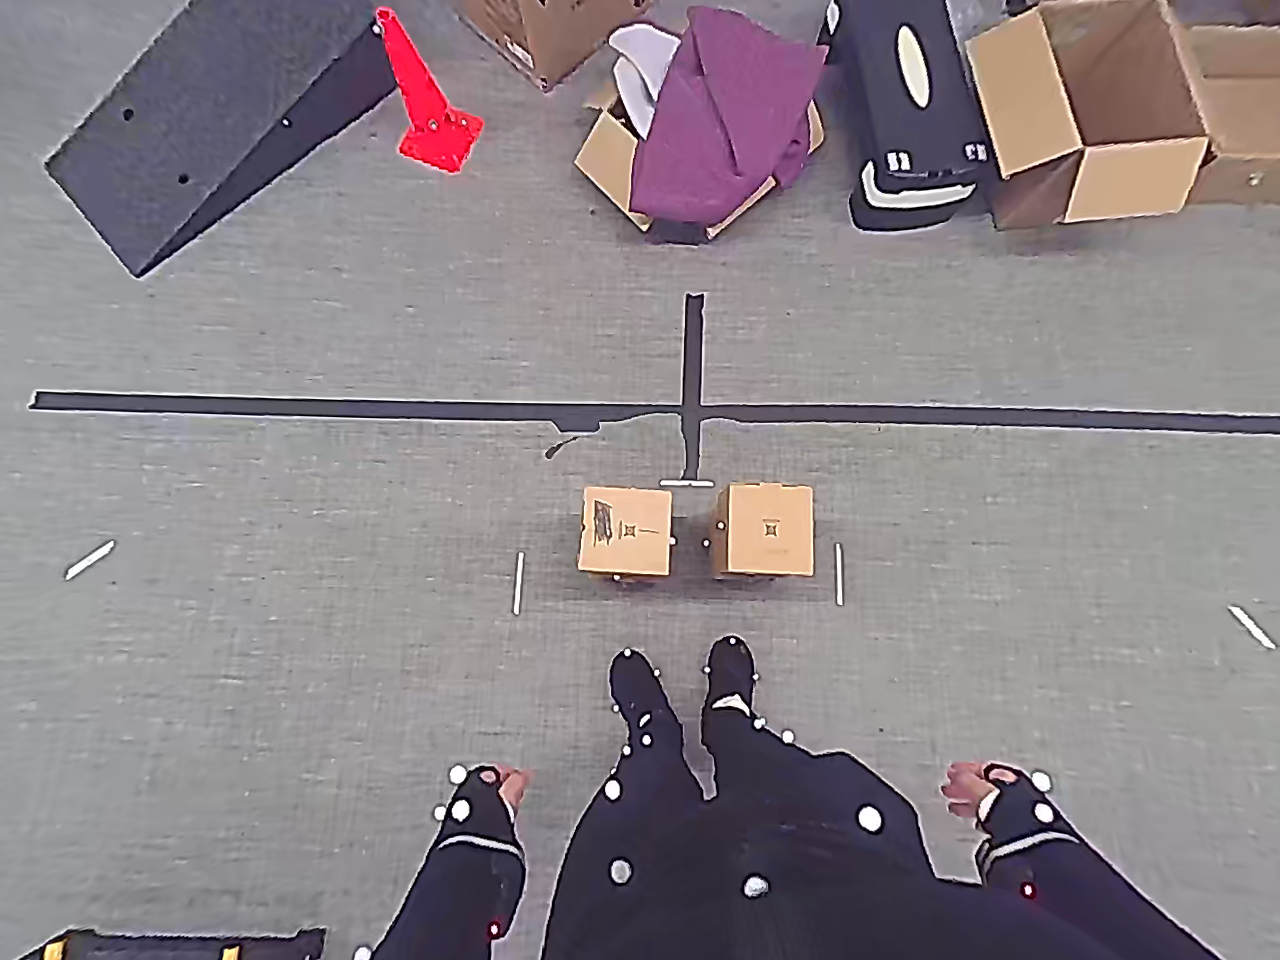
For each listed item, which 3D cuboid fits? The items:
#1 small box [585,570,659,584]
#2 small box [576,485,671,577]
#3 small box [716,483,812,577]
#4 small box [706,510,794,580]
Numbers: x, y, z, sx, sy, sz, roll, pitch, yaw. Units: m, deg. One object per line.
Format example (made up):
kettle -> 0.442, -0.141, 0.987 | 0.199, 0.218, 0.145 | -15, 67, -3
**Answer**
small box -> -0.032, 0.150, 1.279 | 0.168, 0.176, 0.179 | 4, 80, 1
small box -> -0.030, 0.112, 1.117 | 0.179, 0.176, 0.168 | 4, 79, 0
small box -> 0.251, 0.109, 1.122 | 0.168, 0.176, 0.179 | 2, 80, 1
small box -> 0.255, 0.150, 1.279 | 0.179, 0.176, 0.168 | 1, 79, 0
